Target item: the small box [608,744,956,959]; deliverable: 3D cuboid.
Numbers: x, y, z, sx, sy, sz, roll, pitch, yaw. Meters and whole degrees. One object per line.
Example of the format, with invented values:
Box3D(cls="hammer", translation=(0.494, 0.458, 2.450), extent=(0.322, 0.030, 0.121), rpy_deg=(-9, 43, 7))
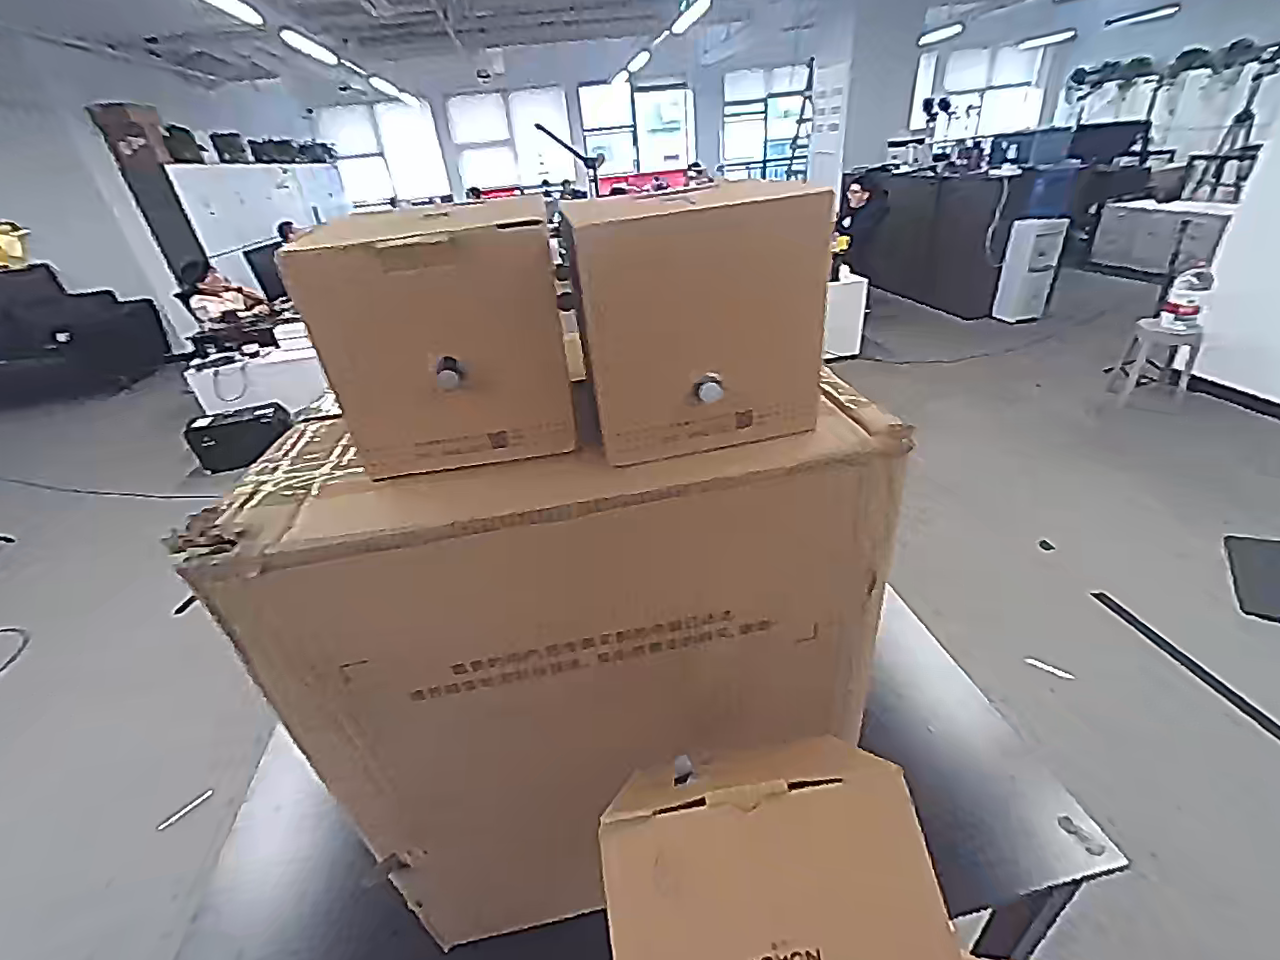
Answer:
Box3D(cls="small box", translation=(0.081, 0.273, 0.340), extent=(0.168, 0.176, 0.179), rpy_deg=(-11, 68, 3))
